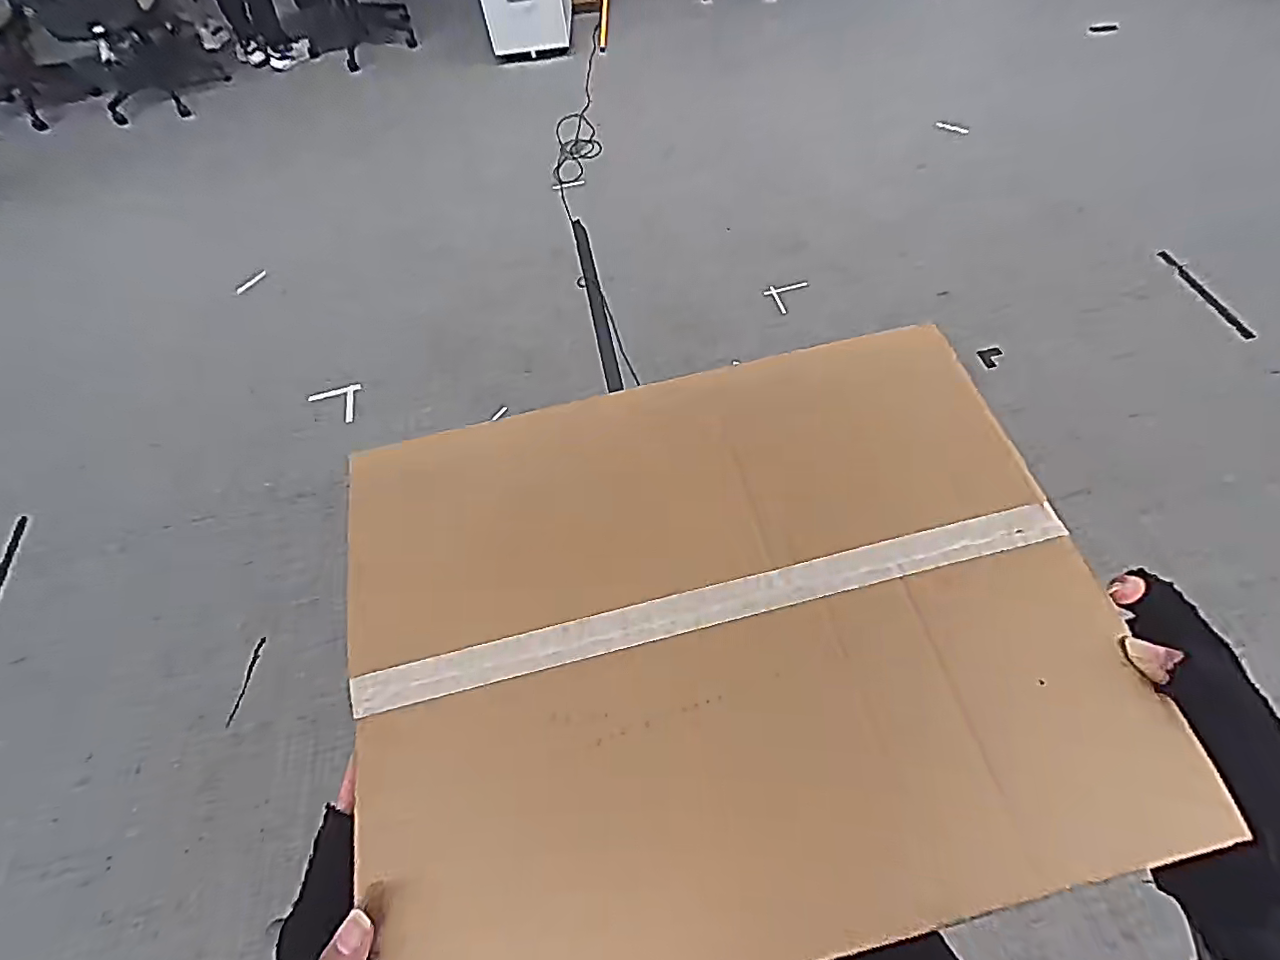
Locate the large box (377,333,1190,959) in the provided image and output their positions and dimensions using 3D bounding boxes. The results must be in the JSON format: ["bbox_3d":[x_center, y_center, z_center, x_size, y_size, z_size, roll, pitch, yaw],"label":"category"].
[{"bbox_3d":[0.053,0.137,0.452,0.408,0.320,0.320,-14,65,-3],"label":"large box"}]
